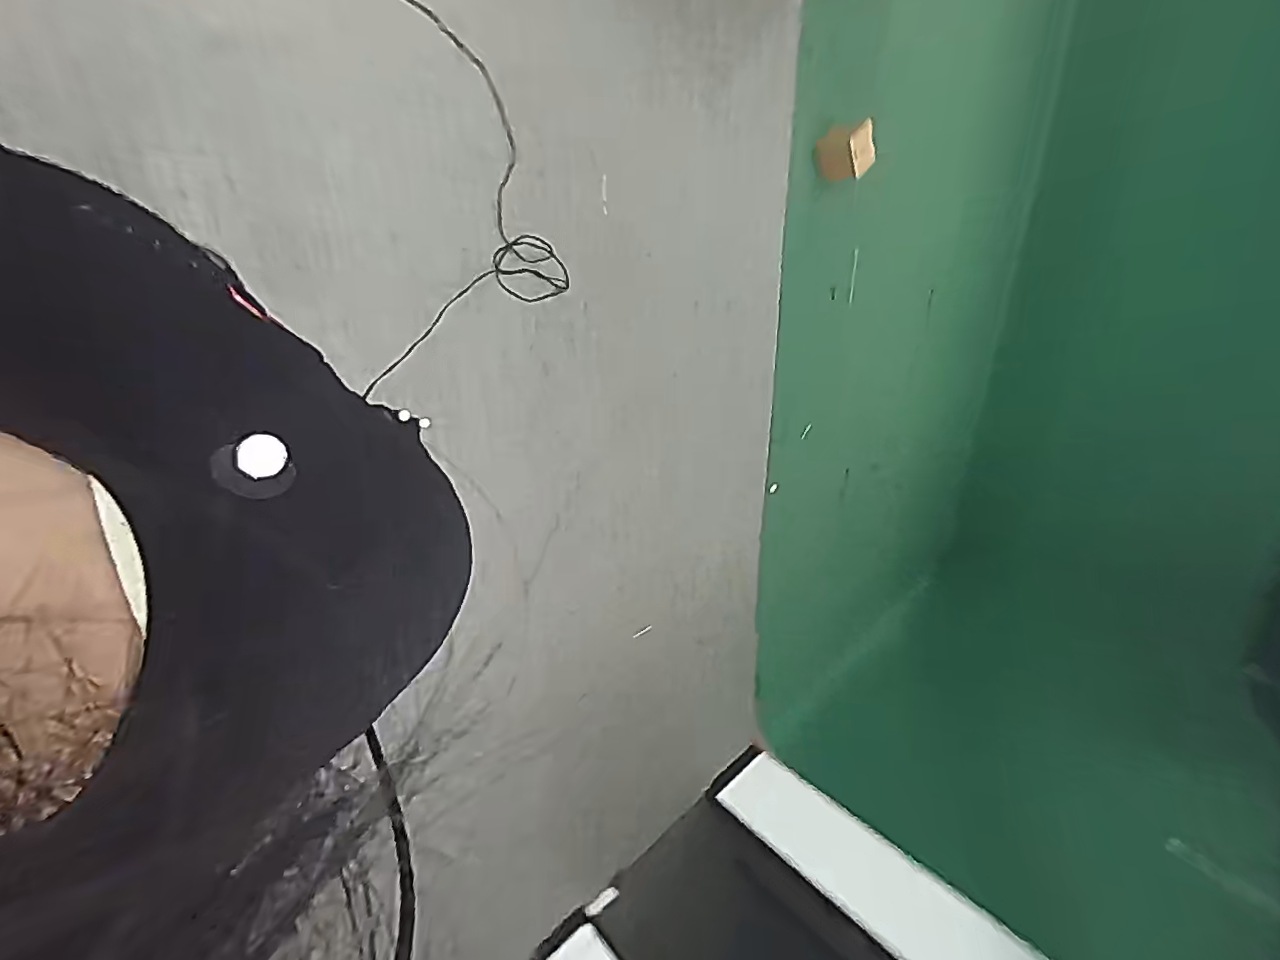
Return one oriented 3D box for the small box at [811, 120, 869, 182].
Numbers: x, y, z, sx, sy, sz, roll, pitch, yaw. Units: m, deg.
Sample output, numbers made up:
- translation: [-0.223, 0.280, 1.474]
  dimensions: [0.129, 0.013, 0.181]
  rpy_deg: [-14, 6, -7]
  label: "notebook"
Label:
- translation: [0.872, -1.433, 2.363]
  dimensions: [0.179, 0.176, 0.168]
  rpy_deg: [-50, 133, -19]
  label: "small box"
